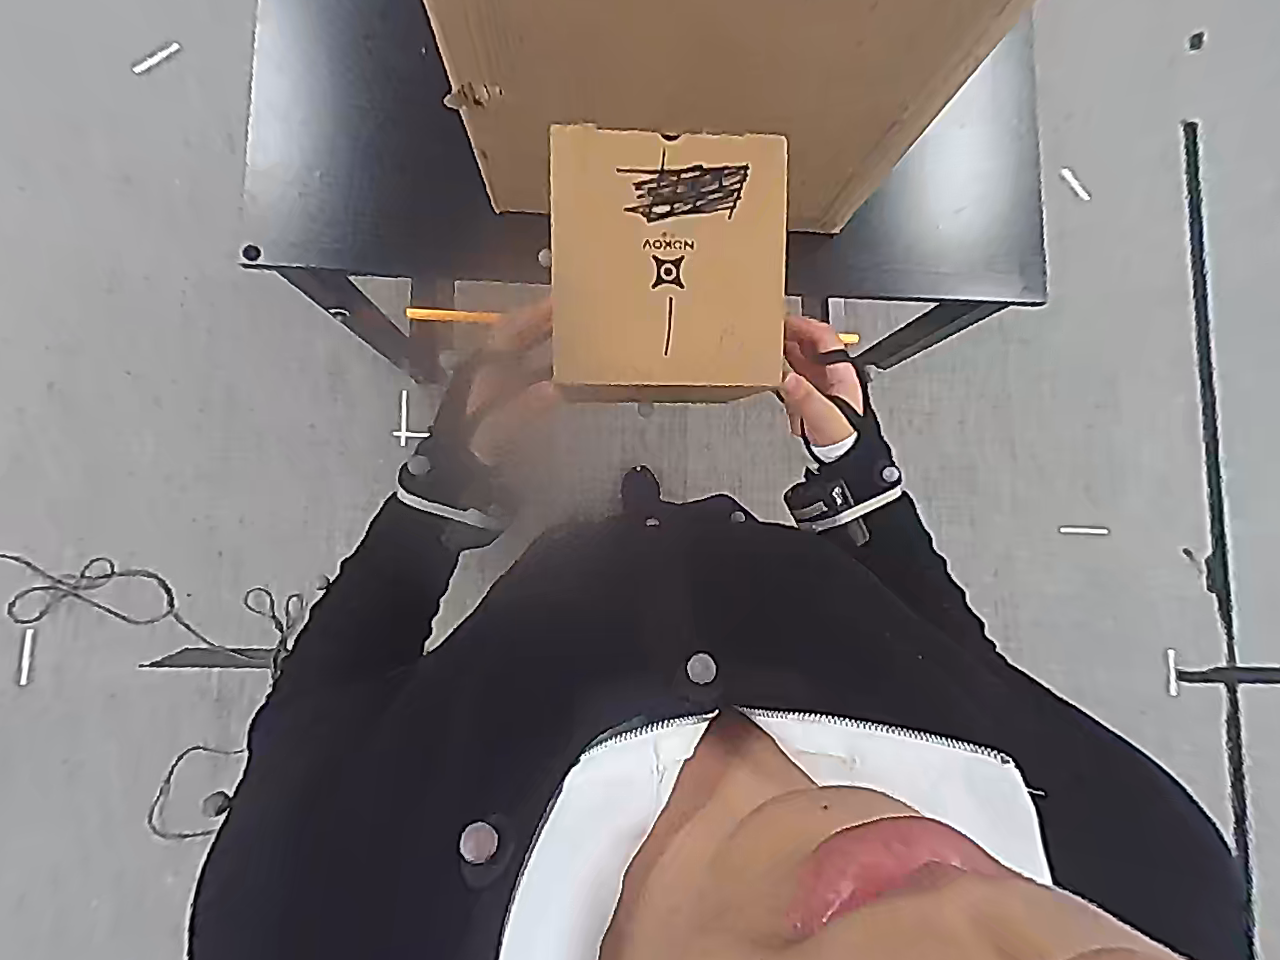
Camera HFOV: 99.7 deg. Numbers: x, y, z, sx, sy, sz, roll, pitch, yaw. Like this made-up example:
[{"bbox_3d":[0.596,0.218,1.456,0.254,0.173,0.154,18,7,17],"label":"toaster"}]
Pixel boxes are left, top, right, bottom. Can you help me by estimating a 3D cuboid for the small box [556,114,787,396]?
[{"bbox_3d":[0.015,-0.168,0.458,0.168,0.176,0.179,-1,94,-4],"label":"small box"}]
